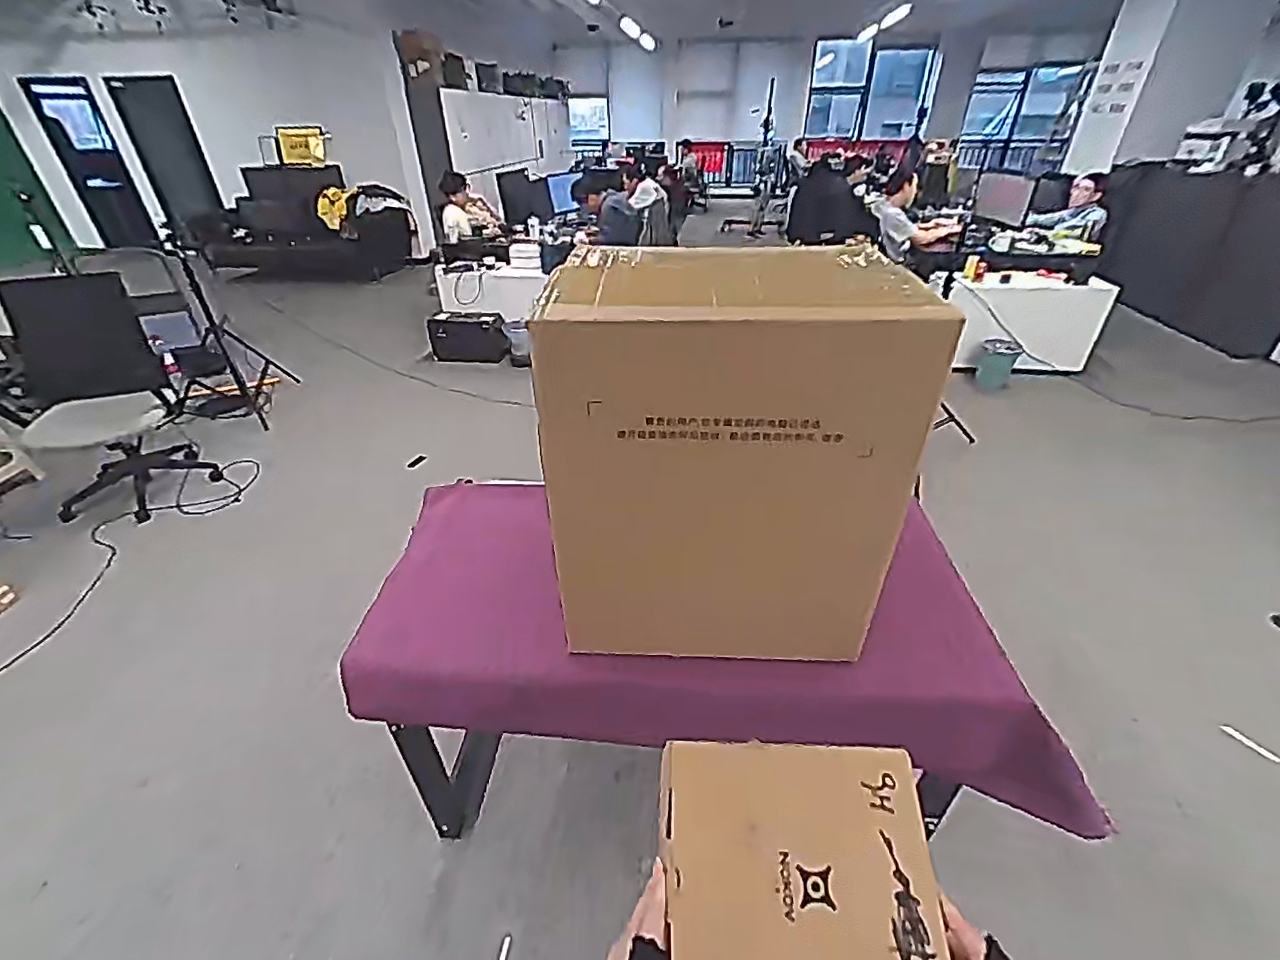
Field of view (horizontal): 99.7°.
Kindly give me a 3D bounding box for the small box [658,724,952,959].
[{"bbox_3d":[0.104,0.294,0.417,0.179,0.176,0.168,2,57,1],"label":"small box"}]
